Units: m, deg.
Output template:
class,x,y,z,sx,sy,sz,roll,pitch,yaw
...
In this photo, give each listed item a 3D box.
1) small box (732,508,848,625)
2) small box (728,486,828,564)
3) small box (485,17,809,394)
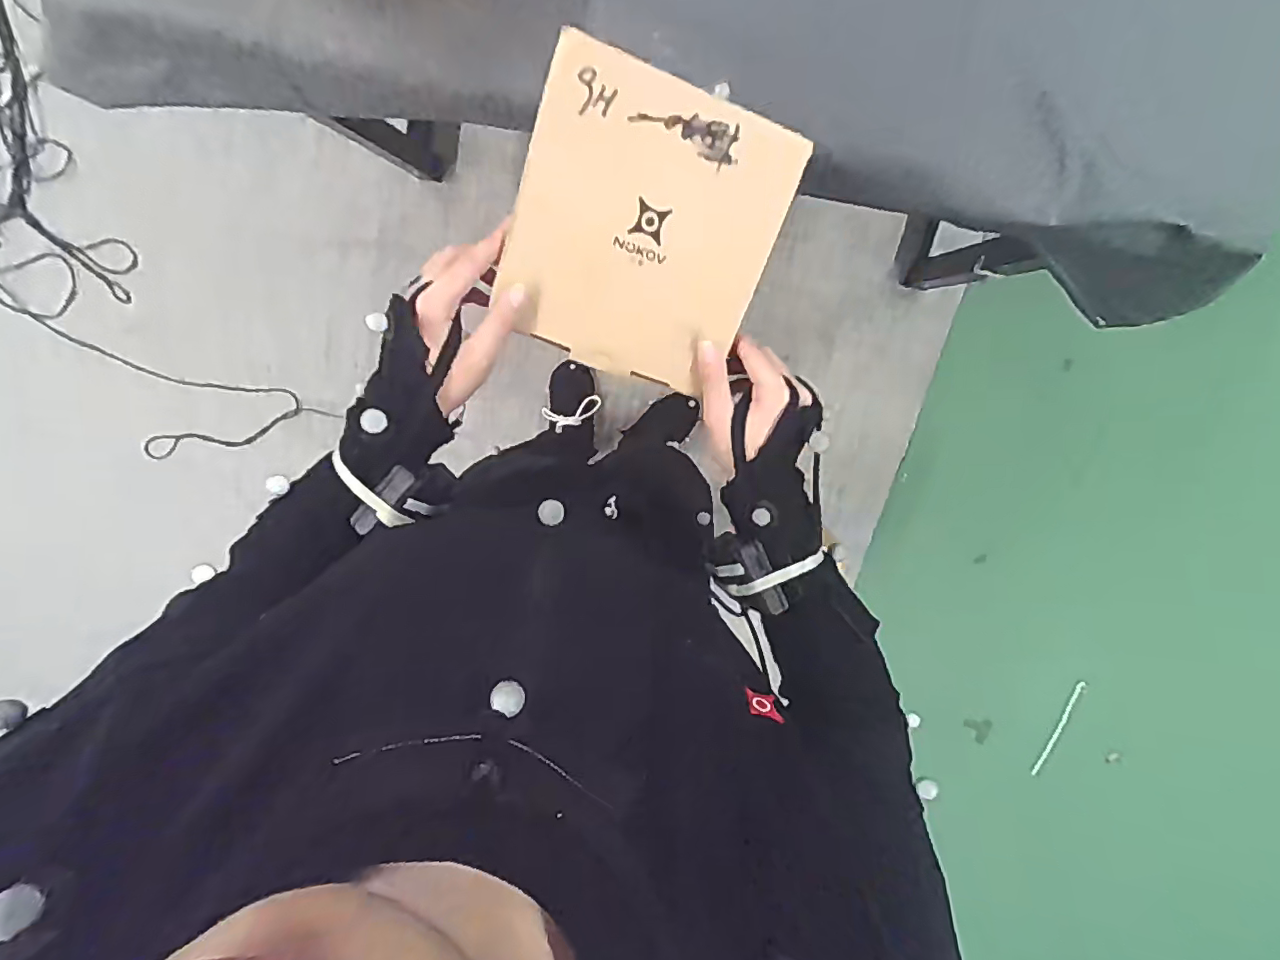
class,x,y,z,sx,sy,sz,roll,pitch,yaw
small box,0.306,0.174,1.143,0.179,0.176,0.168,17,105,1
small box,0.322,0.126,1.299,0.179,0.176,0.168,18,105,1
small box,-0.002,-0.190,0.419,0.168,0.176,0.179,18,109,-9
